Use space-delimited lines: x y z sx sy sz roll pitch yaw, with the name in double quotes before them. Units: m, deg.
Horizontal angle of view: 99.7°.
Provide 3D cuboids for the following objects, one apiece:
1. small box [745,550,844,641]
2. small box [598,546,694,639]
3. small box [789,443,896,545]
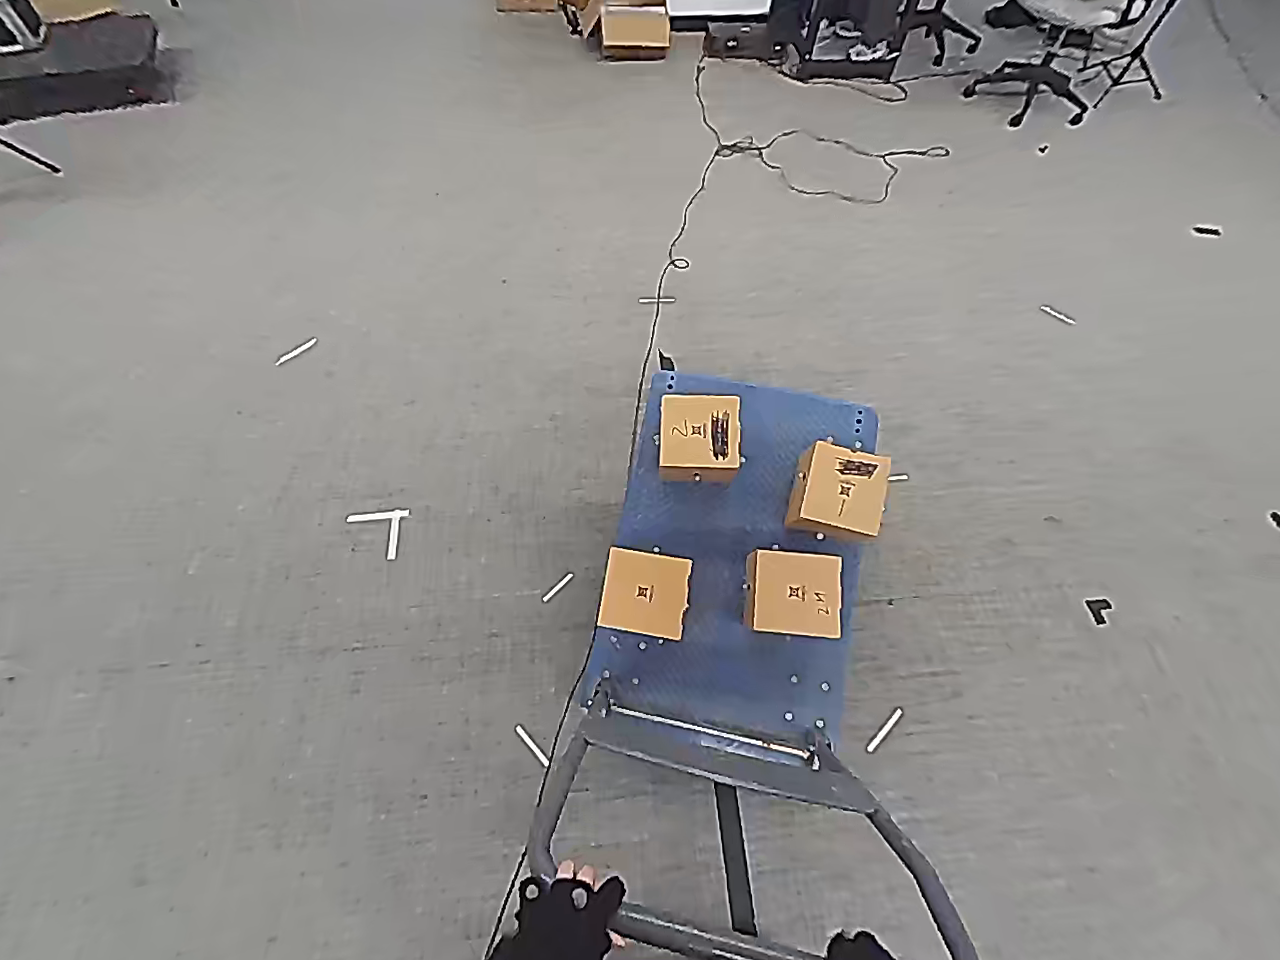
"small box" 0.328 0.251 1.177 0.179 0.176 0.168 6 79 5
"small box" 0.016 0.249 1.196 0.179 0.176 0.168 10 78 4
"small box" 0.446 0.038 1.216 0.168 0.176 0.179 15 80 7
